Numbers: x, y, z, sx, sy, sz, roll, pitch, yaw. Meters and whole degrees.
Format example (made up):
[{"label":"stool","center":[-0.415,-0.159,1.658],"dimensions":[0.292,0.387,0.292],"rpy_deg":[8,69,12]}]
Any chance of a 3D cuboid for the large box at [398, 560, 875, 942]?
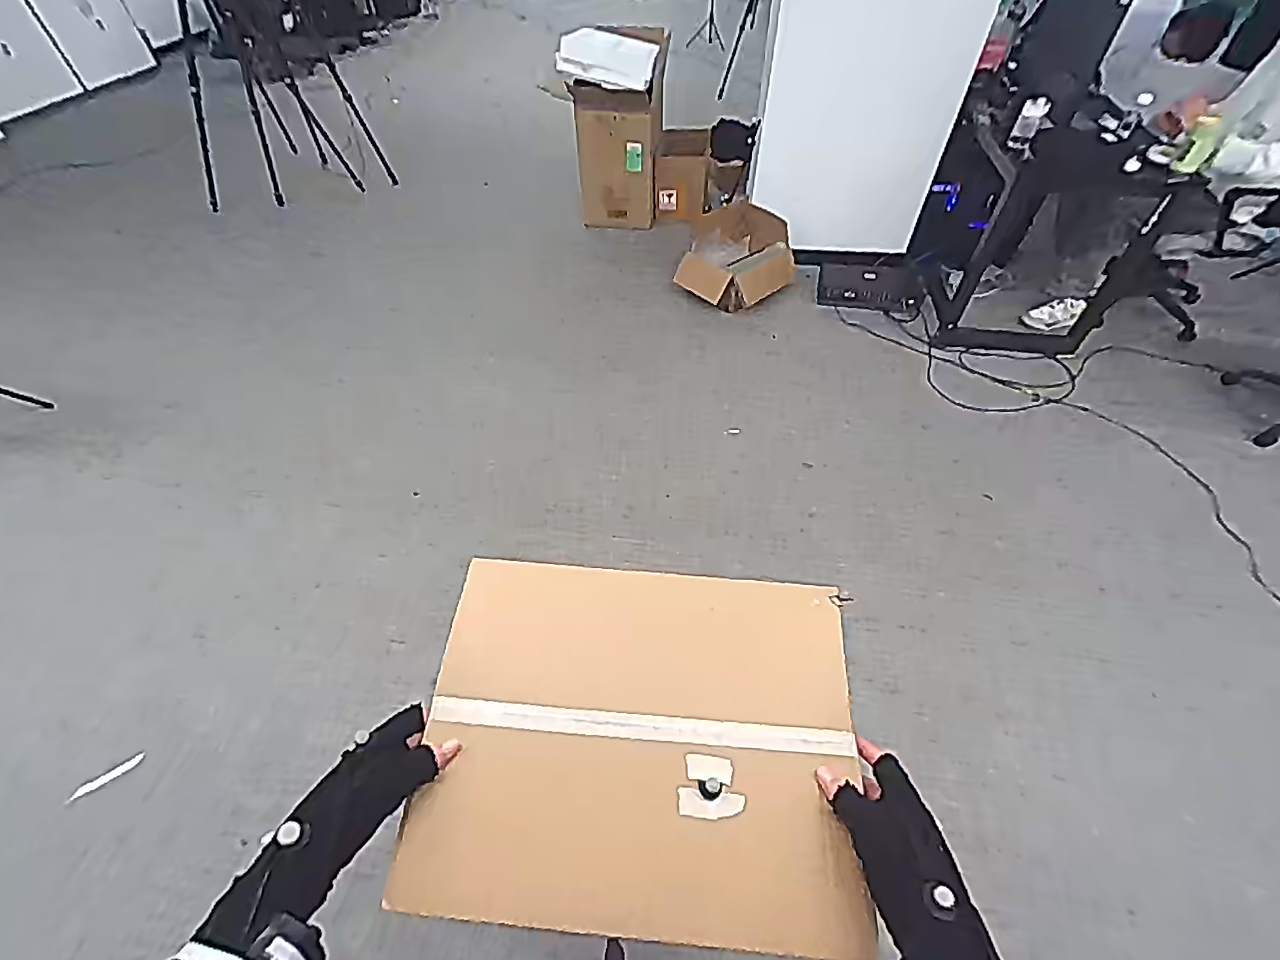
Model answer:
[{"label":"large box","center":[0.001,0.311,0.646],"dimensions":[0.408,0.320,0.320],"rpy_deg":[5,59,2]}]
